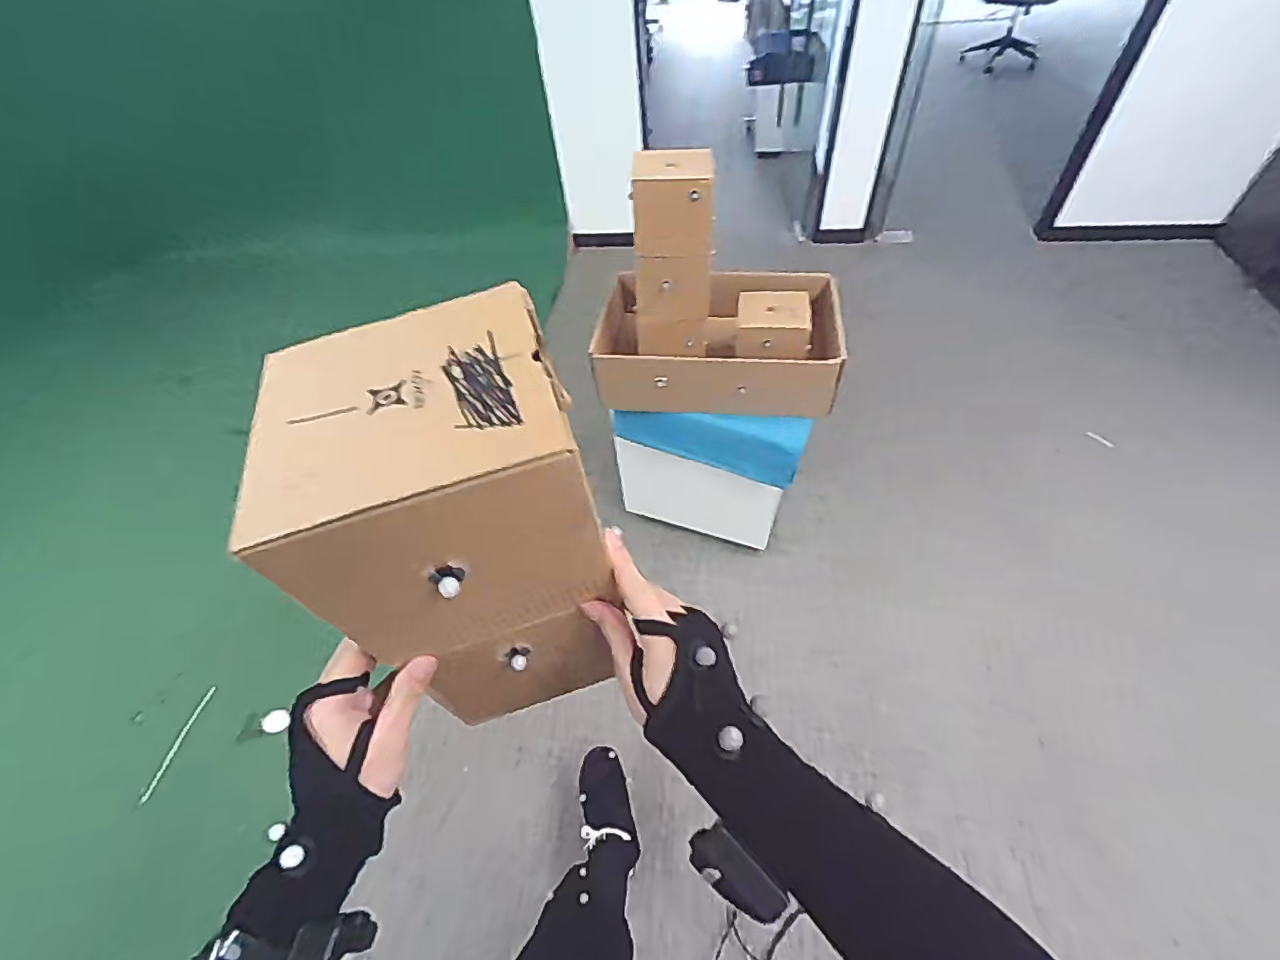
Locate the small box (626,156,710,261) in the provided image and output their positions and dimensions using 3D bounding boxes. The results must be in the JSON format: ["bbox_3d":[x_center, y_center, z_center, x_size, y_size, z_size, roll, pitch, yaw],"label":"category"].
[{"bbox_3d":[0.064,-0.607,1.218,0.179,0.176,0.168,1,49,3],"label":"small box"}]

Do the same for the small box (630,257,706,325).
[{"bbox_3d":[0.074,-0.499,1.339,0.179,0.176,0.168,0,50,4],"label":"small box"}]

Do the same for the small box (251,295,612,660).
[{"bbox_3d":[-0.124,0.003,0.386,0.179,0.176,0.168,-17,52,-5],"label":"small box"}]

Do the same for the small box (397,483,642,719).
[{"bbox_3d":[-0.106,0.104,0.514,0.179,0.176,0.168,-15,51,-6],"label":"small box"}]
